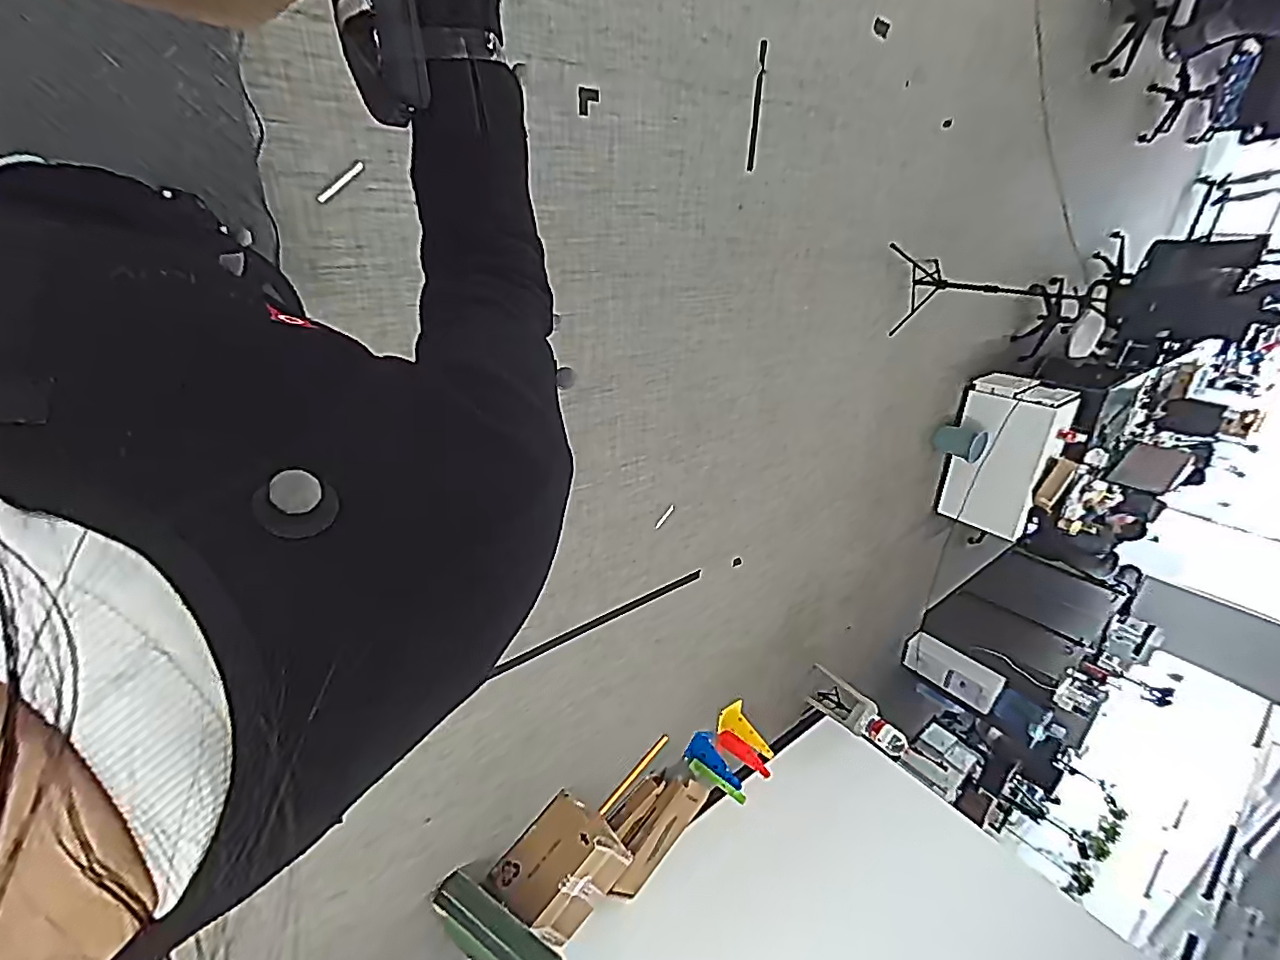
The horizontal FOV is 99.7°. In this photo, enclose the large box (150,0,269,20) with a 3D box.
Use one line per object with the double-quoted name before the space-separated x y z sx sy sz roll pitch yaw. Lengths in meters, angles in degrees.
"large box" -0.386 -0.426 0.193 0.408 0.320 0.320 -17 127 -37
